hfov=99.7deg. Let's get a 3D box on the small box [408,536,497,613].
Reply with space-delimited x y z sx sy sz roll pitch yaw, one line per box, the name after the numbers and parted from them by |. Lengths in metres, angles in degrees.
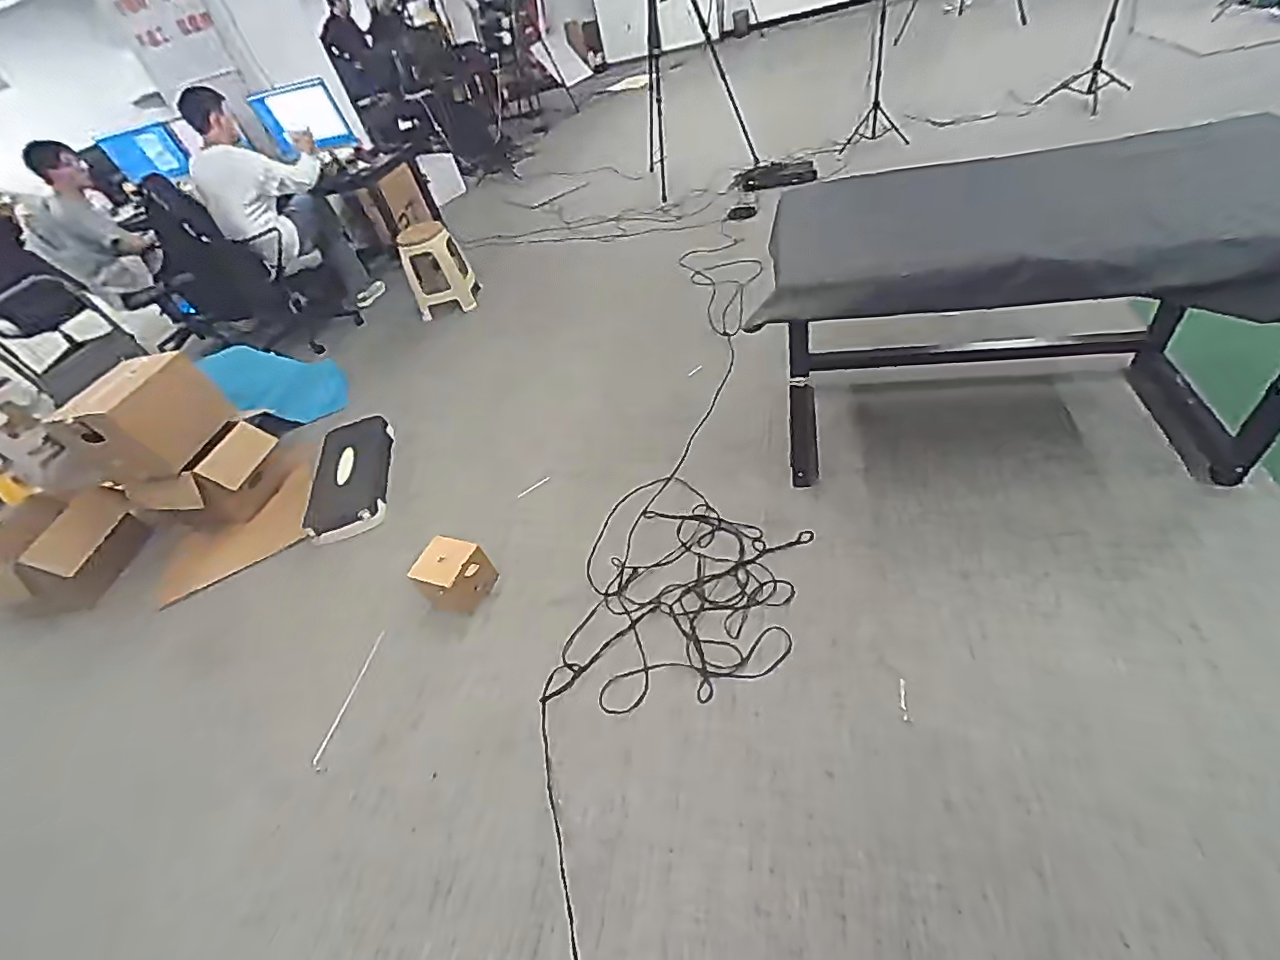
-0.596 0.306 1.738 0.179 0.176 0.168 8 49 22 | small box
